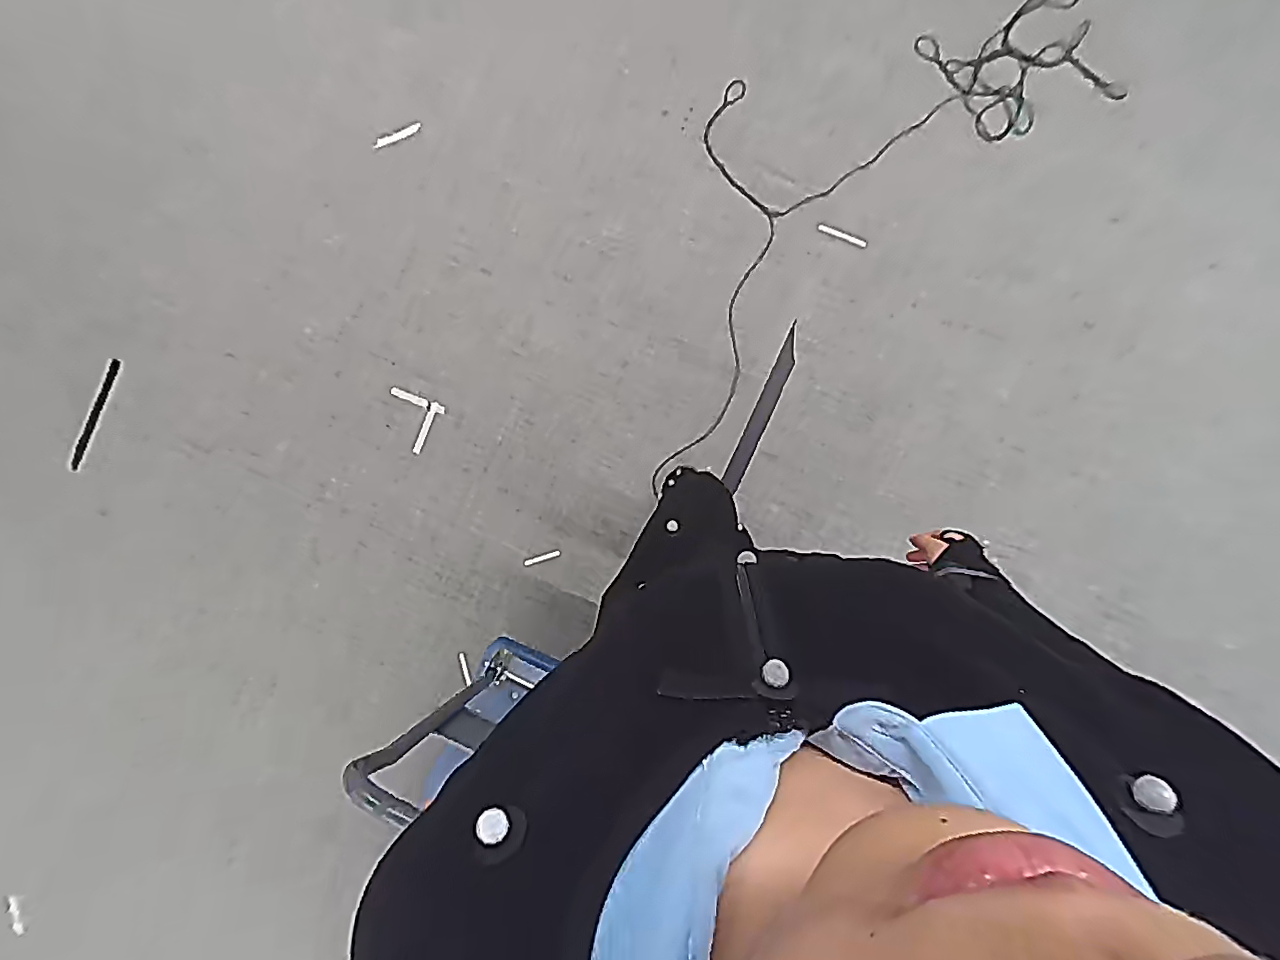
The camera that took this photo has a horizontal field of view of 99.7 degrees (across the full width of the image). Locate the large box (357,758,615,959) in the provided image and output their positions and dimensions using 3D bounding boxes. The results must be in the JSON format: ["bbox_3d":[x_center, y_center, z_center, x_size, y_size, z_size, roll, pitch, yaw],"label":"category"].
[{"bbox_3d":[-0.310,0.900,1.191,0.408,0.320,0.320,25,90,5],"label":"large box"}]
